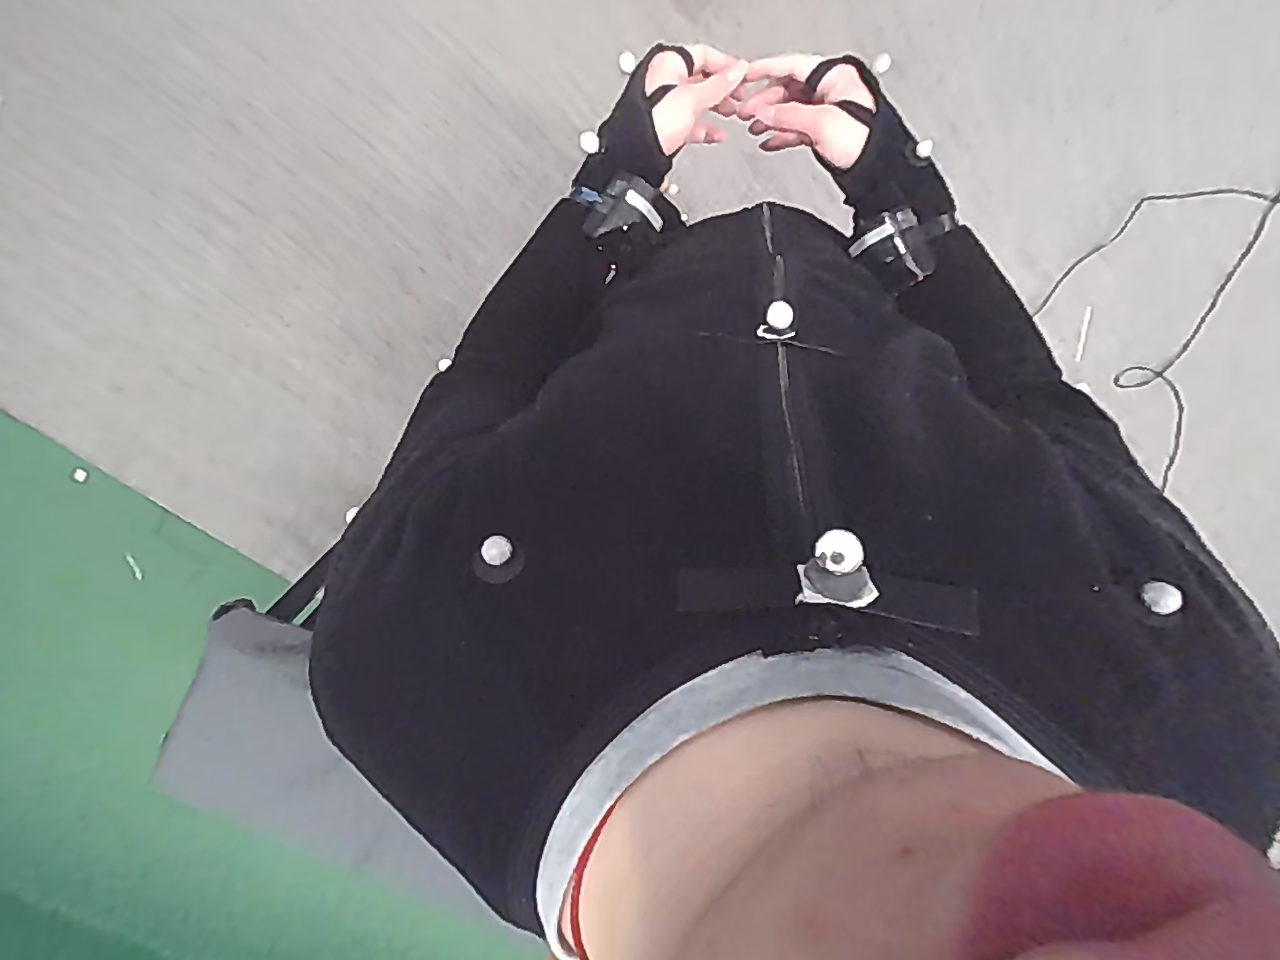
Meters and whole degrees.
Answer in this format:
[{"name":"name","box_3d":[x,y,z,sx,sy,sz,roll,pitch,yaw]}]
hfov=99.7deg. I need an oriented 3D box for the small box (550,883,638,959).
[{"name":"small box","box_3d":[-0.117,1.171,1.373,0.168,0.176,0.179,33,113,-12]}]
